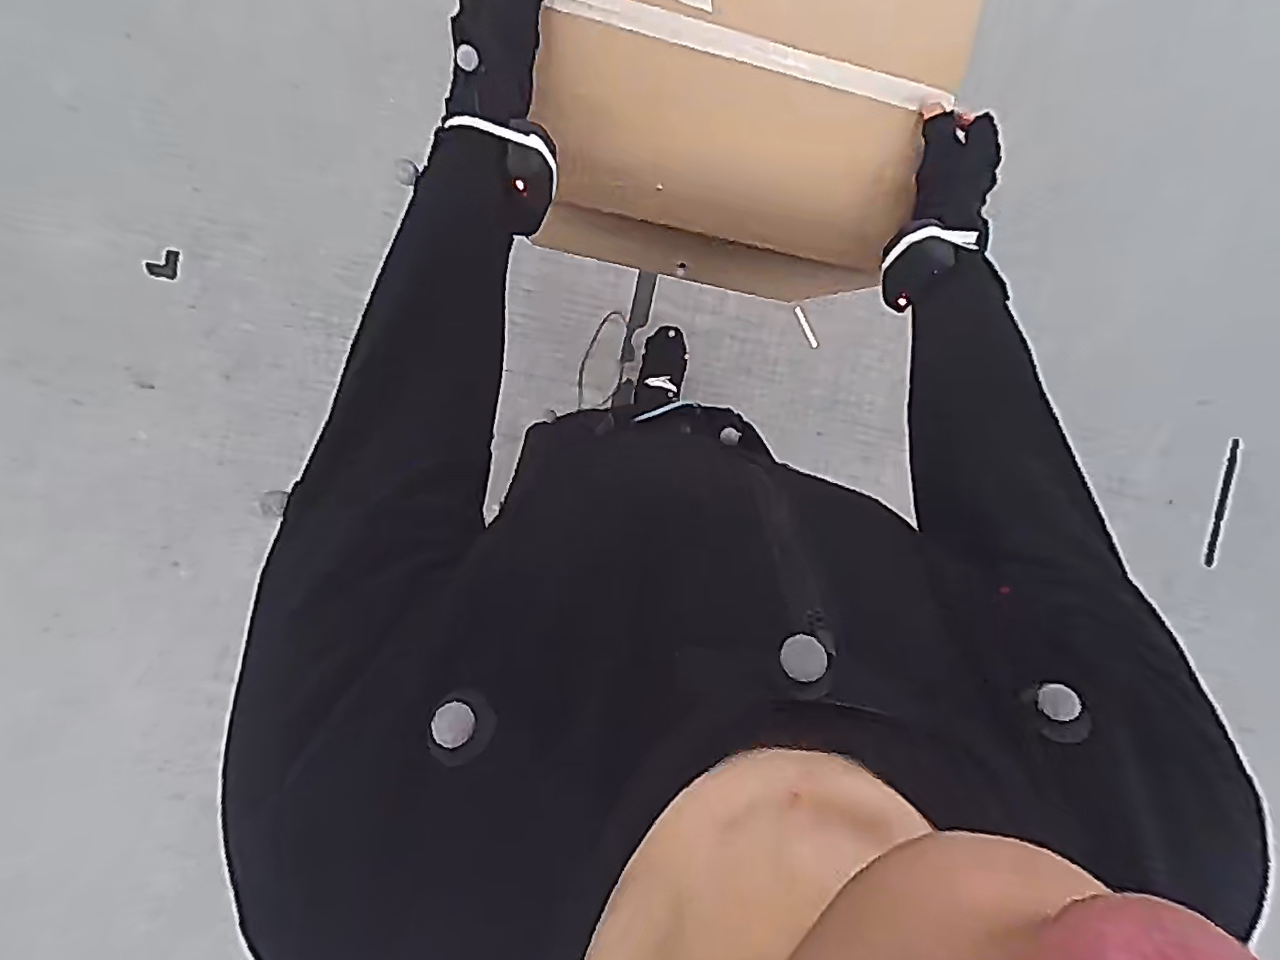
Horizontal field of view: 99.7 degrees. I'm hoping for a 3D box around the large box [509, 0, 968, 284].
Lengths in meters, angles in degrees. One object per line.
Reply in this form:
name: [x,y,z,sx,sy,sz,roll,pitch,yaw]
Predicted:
large box: [0.083,-0.435,0.638,0.408,0.320,0.320,9,103,-9]
